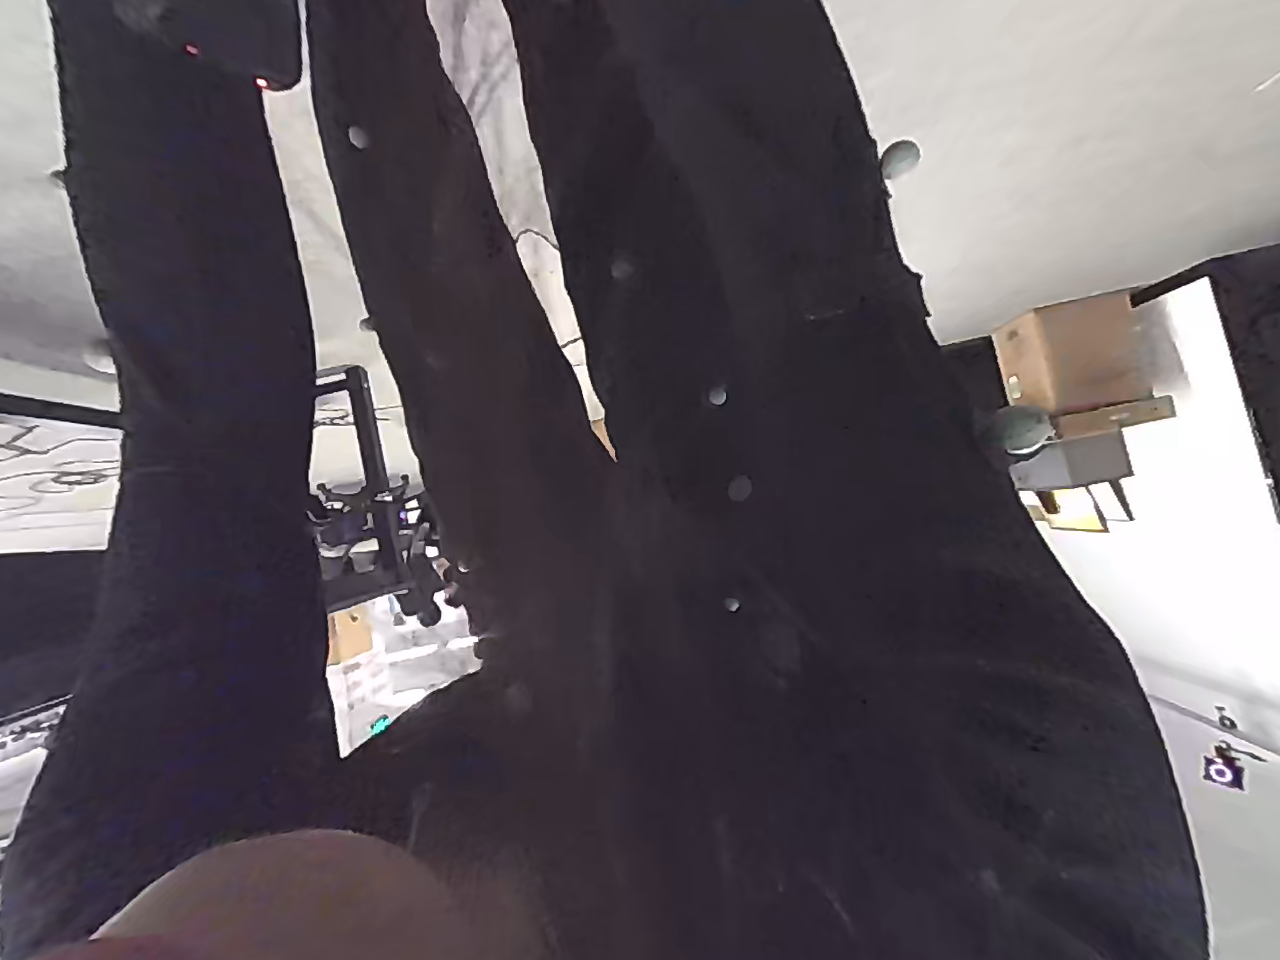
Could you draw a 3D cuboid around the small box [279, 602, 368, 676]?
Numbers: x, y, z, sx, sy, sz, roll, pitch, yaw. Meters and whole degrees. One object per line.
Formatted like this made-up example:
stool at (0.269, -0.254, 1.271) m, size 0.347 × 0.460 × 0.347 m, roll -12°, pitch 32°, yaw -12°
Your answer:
small box at (-0.956, 0.473, 1.633) m, size 0.179 × 0.176 × 0.168 m, roll -11°, pitch 176°, yaw 4°
